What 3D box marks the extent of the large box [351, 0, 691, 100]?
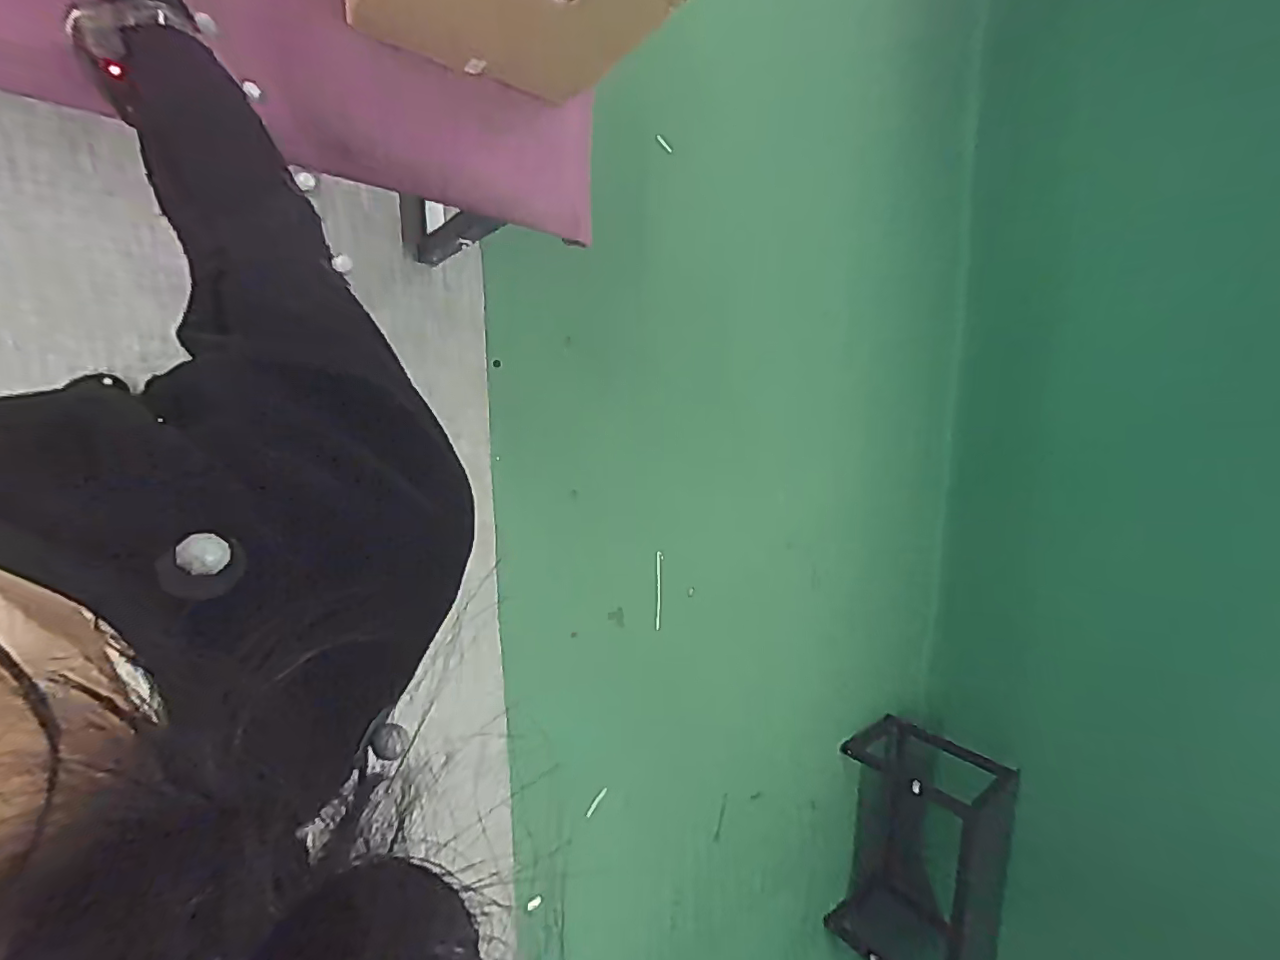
[{"bbox_3d":[-0.147,-0.754,0.611,0.320,0.320,0.408,-6,102,-36],"label":"large box"}]
